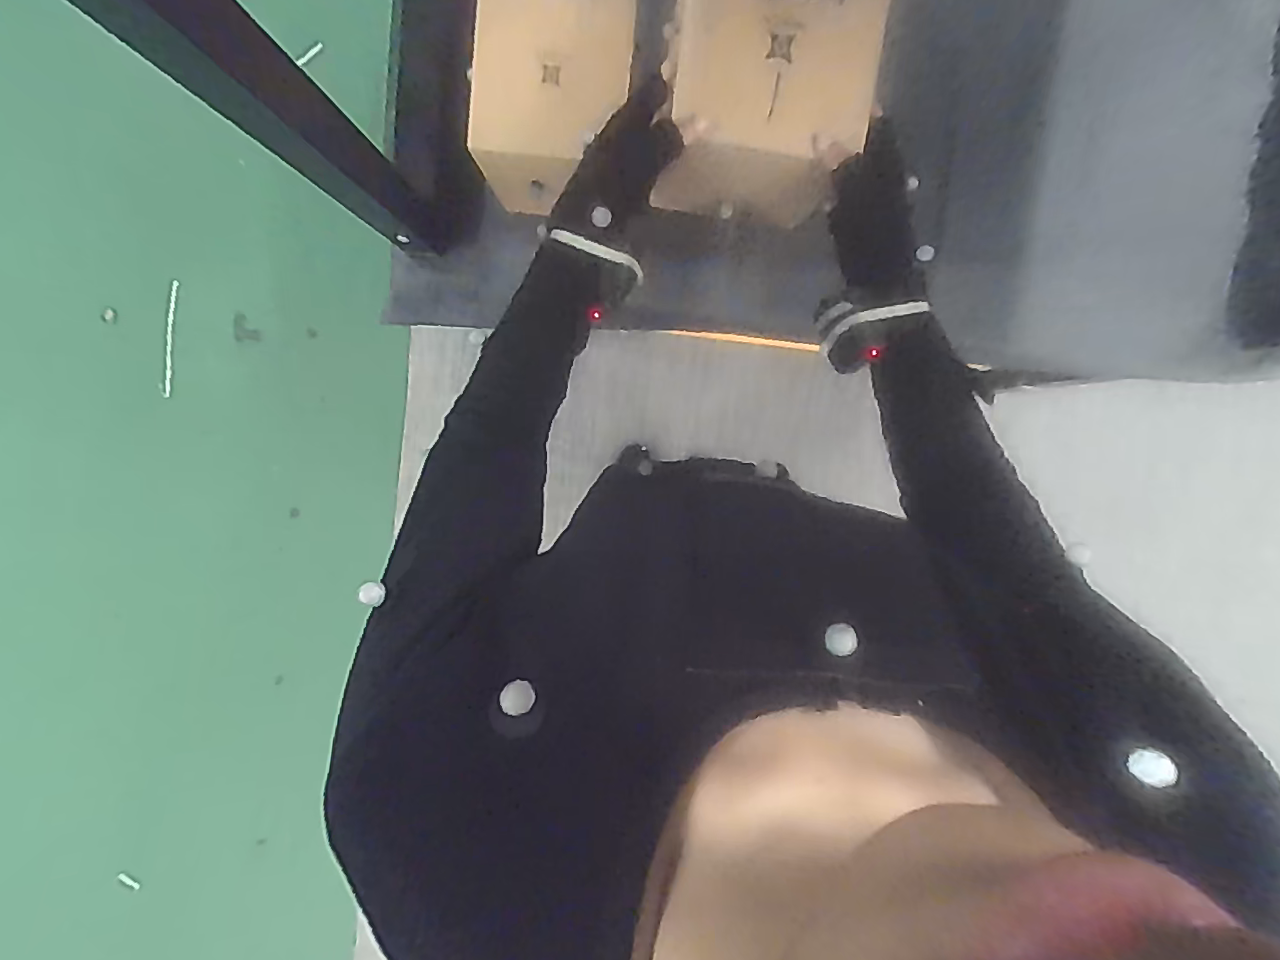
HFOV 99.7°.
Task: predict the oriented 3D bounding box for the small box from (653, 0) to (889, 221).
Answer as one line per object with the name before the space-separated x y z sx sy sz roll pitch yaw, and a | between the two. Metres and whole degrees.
small box | 0.108 -0.373 0.510 0.168 0.176 0.179 7 98 -5

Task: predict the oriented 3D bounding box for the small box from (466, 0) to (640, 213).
small box | -0.090 -0.434 0.629 0.168 0.176 0.179 5 94 0
